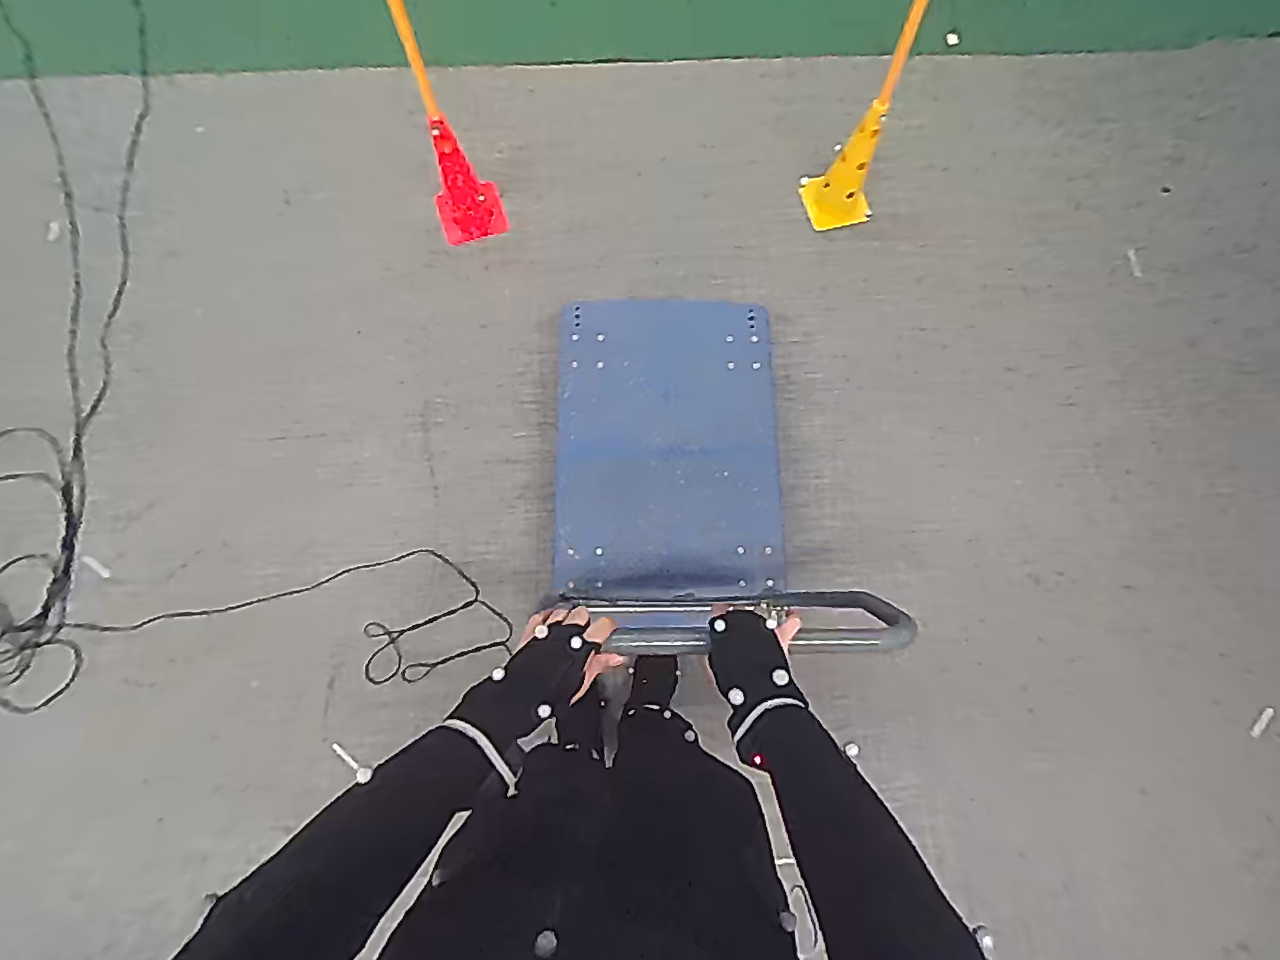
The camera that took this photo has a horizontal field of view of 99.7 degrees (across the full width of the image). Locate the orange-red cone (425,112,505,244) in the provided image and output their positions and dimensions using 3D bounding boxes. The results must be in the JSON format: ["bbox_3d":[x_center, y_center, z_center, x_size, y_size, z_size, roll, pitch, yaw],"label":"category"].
[{"bbox_3d":[-0.542,-0.894,1.566,0.199,0.360,0.198,-18,77,-4],"label":"orange-red cone"}]
